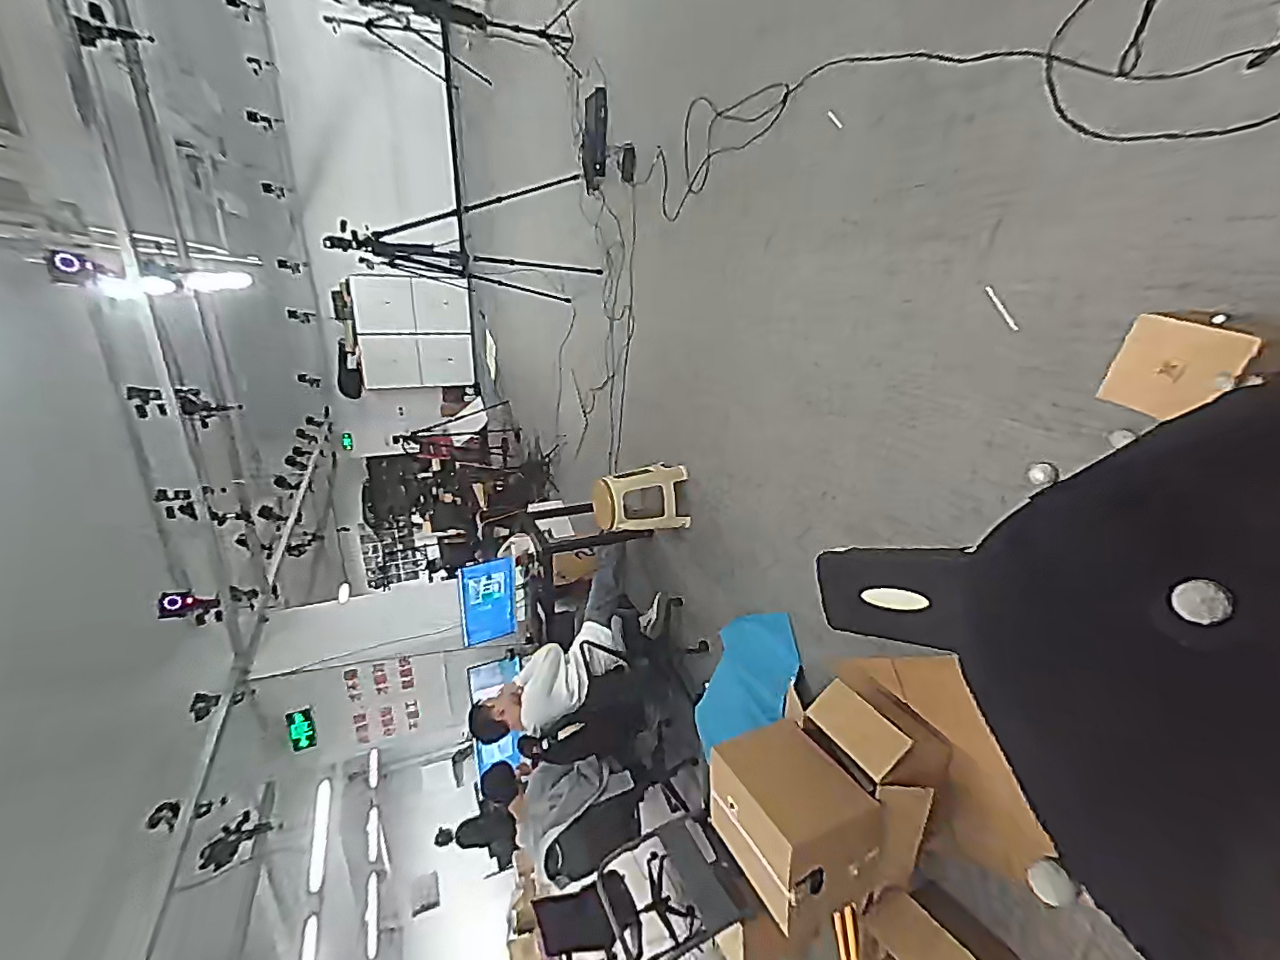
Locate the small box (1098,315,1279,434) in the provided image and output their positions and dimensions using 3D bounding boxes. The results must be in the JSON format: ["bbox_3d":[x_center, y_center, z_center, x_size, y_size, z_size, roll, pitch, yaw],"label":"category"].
[{"bbox_3d":[1.010,-0.195,0.982,0.179,0.176,0.168,-131,41,-50],"label":"small box"}]
